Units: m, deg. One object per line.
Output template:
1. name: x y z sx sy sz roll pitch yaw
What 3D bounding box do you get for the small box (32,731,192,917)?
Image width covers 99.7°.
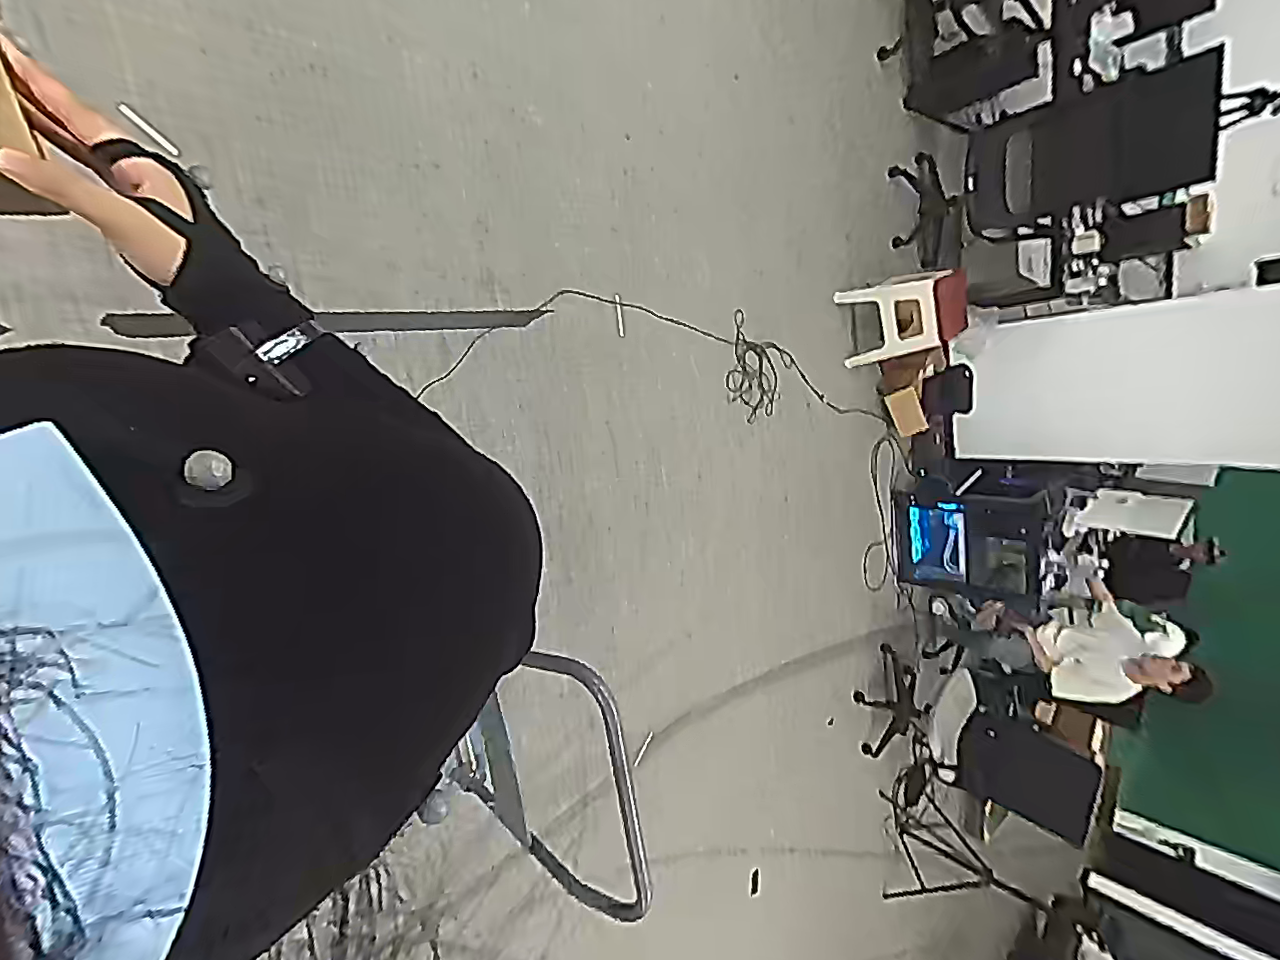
1. small box: -0.891 0.574 0.930 0.168 0.176 0.179 -13 101 -40
